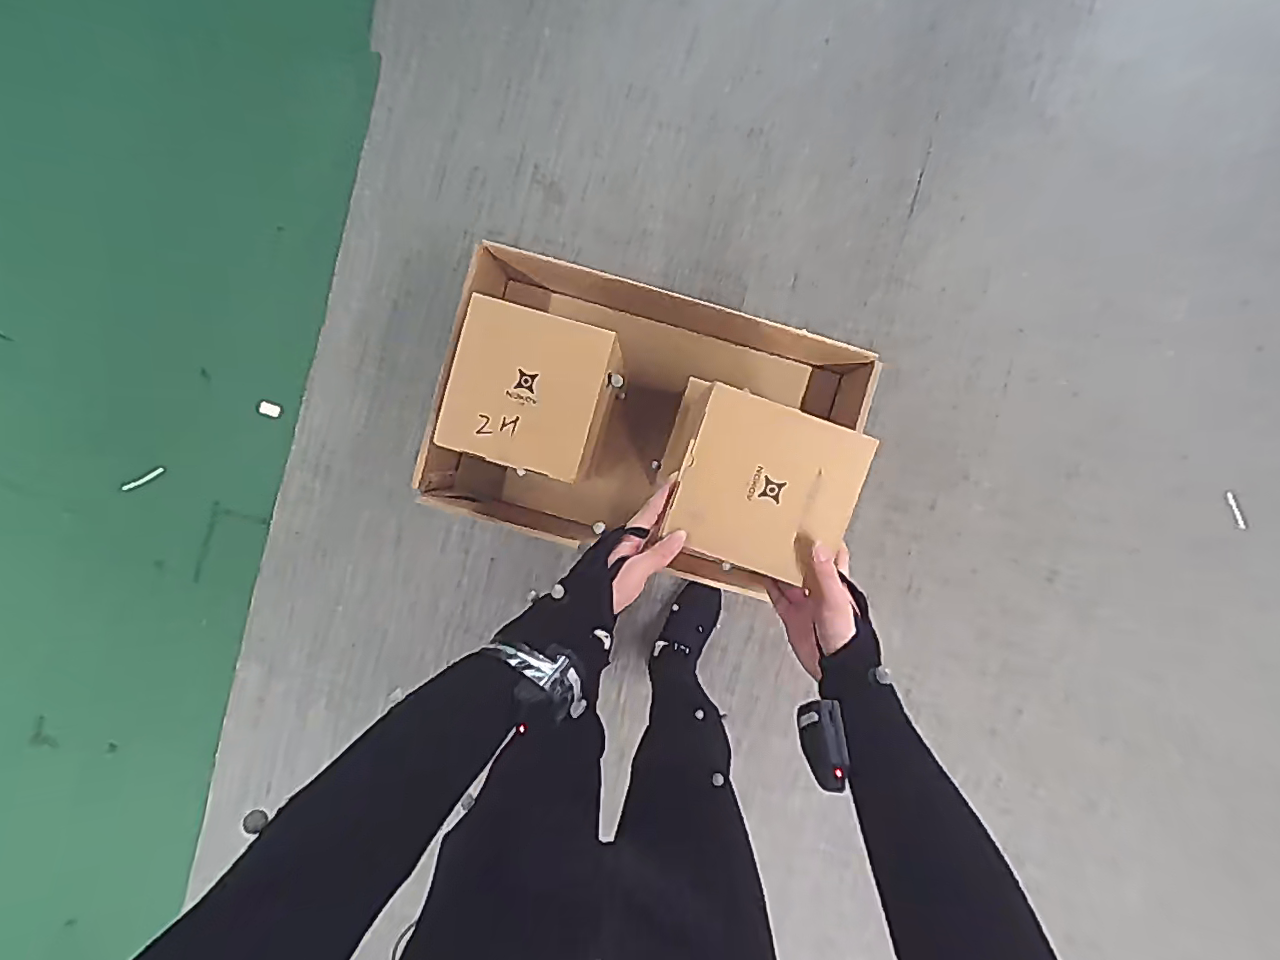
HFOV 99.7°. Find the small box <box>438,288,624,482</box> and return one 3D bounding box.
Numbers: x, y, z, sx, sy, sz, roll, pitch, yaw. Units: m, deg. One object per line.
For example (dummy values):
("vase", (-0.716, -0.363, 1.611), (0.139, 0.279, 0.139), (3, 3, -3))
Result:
("small box", (-0.121, -0.106, 0.669), (0.168, 0.176, 0.179), (17, 92, 0))

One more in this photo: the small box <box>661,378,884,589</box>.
("small box", (0.130, 0.001, 0.610), (0.179, 0.176, 0.168), (20, 93, -2))
